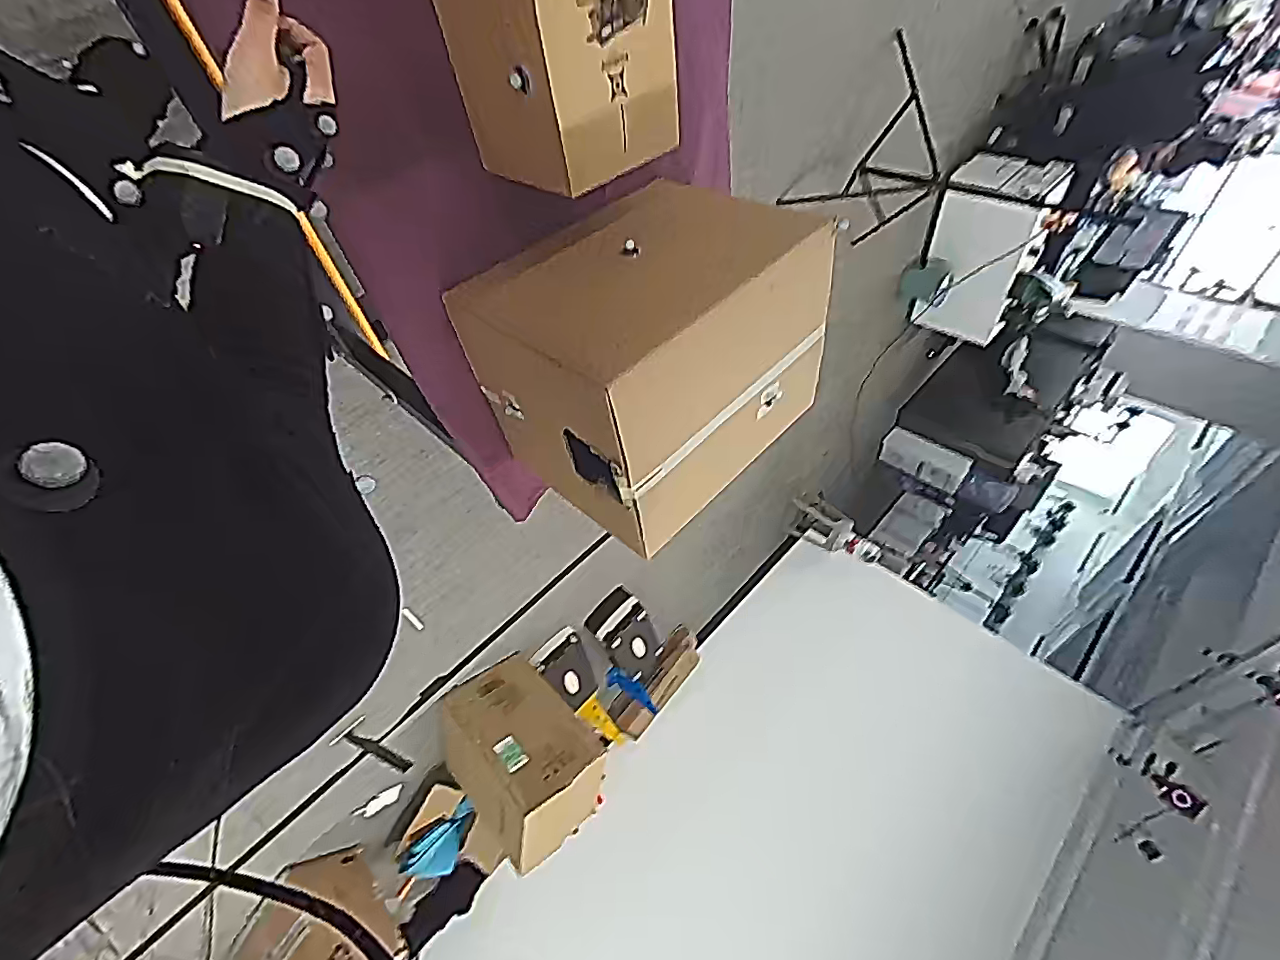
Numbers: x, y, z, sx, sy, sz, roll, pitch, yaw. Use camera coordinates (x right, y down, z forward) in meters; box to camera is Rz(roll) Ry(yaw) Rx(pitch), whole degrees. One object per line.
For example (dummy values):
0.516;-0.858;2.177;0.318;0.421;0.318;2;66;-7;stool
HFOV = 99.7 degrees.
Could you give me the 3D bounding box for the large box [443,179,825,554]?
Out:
0.010;-0.182;0.784;0.408;0.320;0.320;-42;146;-24;large box
